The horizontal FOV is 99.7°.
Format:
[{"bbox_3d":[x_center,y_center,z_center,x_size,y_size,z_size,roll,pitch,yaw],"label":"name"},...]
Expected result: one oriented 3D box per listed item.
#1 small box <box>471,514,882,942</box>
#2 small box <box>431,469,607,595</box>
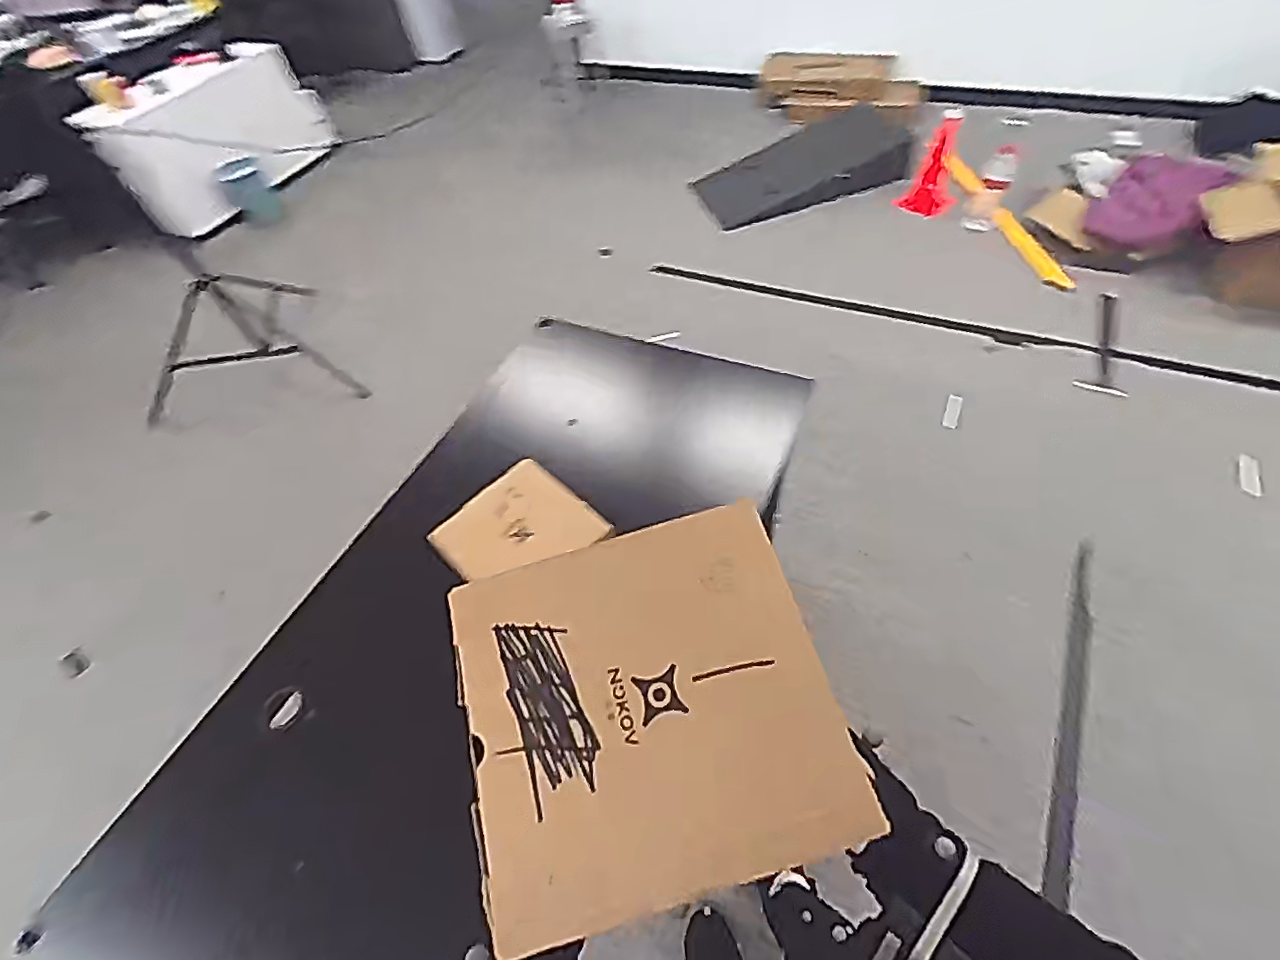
[{"bbox_3d":[0.015,0.145,0.342,0.179,0.176,0.168,-15,64,-1],"label":"small box"},{"bbox_3d":[-0.149,0.125,0.760,0.179,0.176,0.168,36,66,28],"label":"small box"}]
